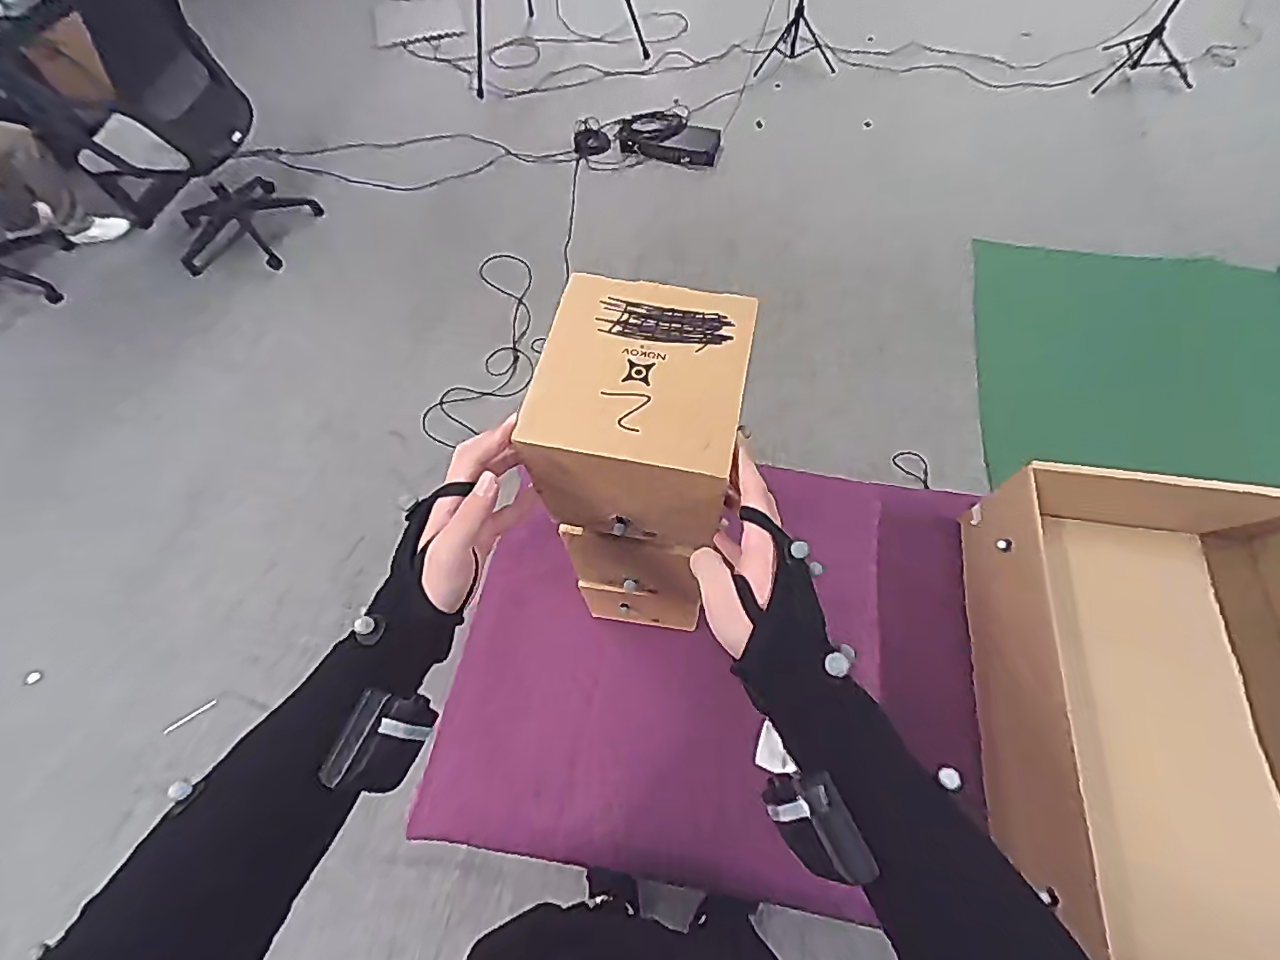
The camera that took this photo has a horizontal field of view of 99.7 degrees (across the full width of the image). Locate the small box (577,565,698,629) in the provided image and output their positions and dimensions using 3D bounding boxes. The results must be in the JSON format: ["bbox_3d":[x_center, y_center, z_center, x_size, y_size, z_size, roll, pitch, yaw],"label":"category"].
[{"bbox_3d":[0.012,0.115,0.823,0.168,0.176,0.179,7,61,6],"label":"small box"}]

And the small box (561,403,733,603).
[{"bbox_3d":[0.014,0.034,0.680,0.168,0.176,0.179,11,62,9],"label":"small box"}]
